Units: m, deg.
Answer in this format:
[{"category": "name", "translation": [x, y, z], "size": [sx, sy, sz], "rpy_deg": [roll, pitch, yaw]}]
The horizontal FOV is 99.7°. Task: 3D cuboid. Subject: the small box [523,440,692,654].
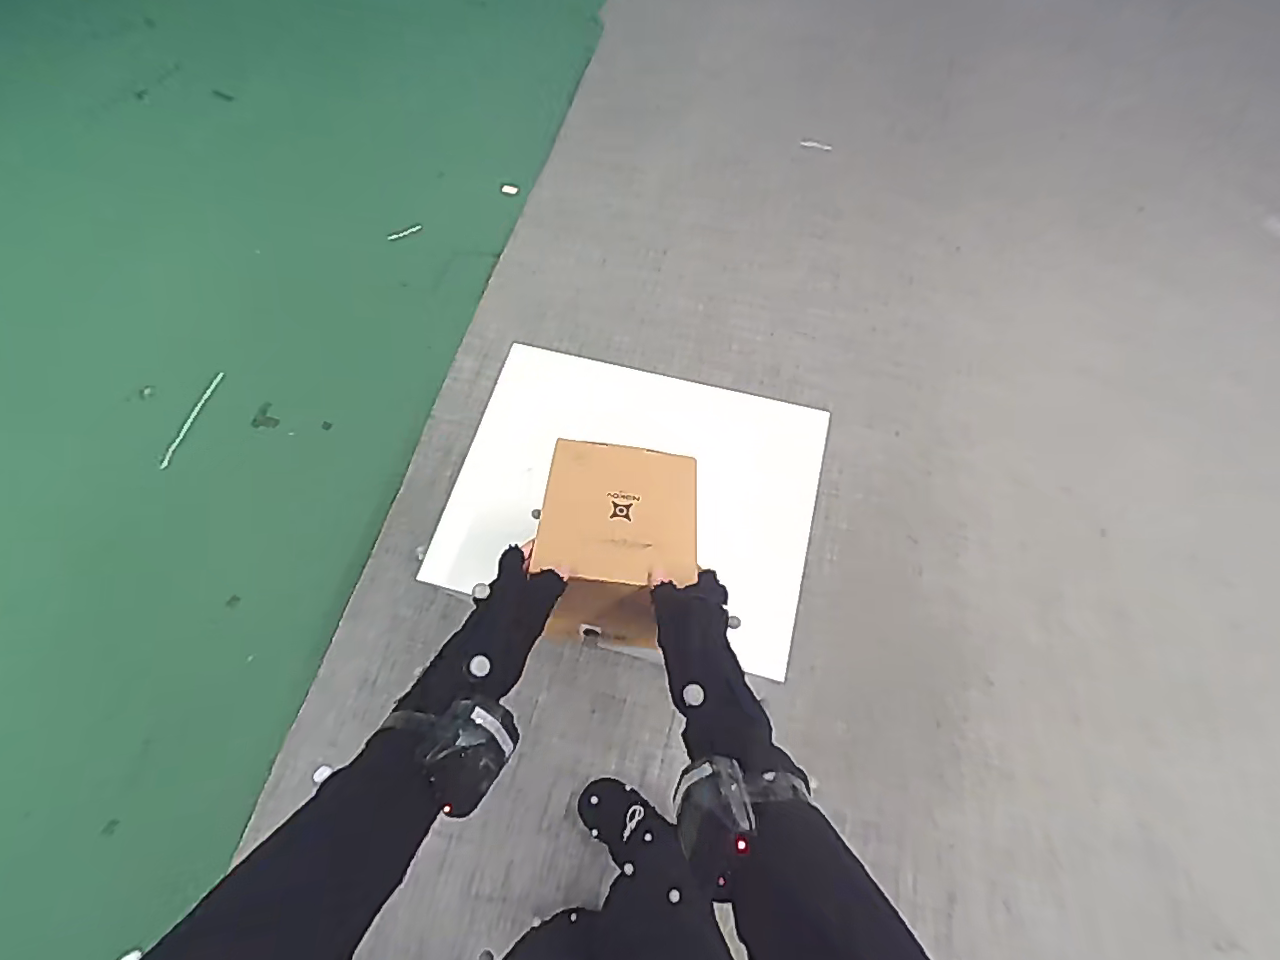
[{"category": "small box", "translation": [-0.036, 0.080, 0.626], "size": [0.168, 0.176, 0.179], "rpy_deg": [6, 51, -3]}]
